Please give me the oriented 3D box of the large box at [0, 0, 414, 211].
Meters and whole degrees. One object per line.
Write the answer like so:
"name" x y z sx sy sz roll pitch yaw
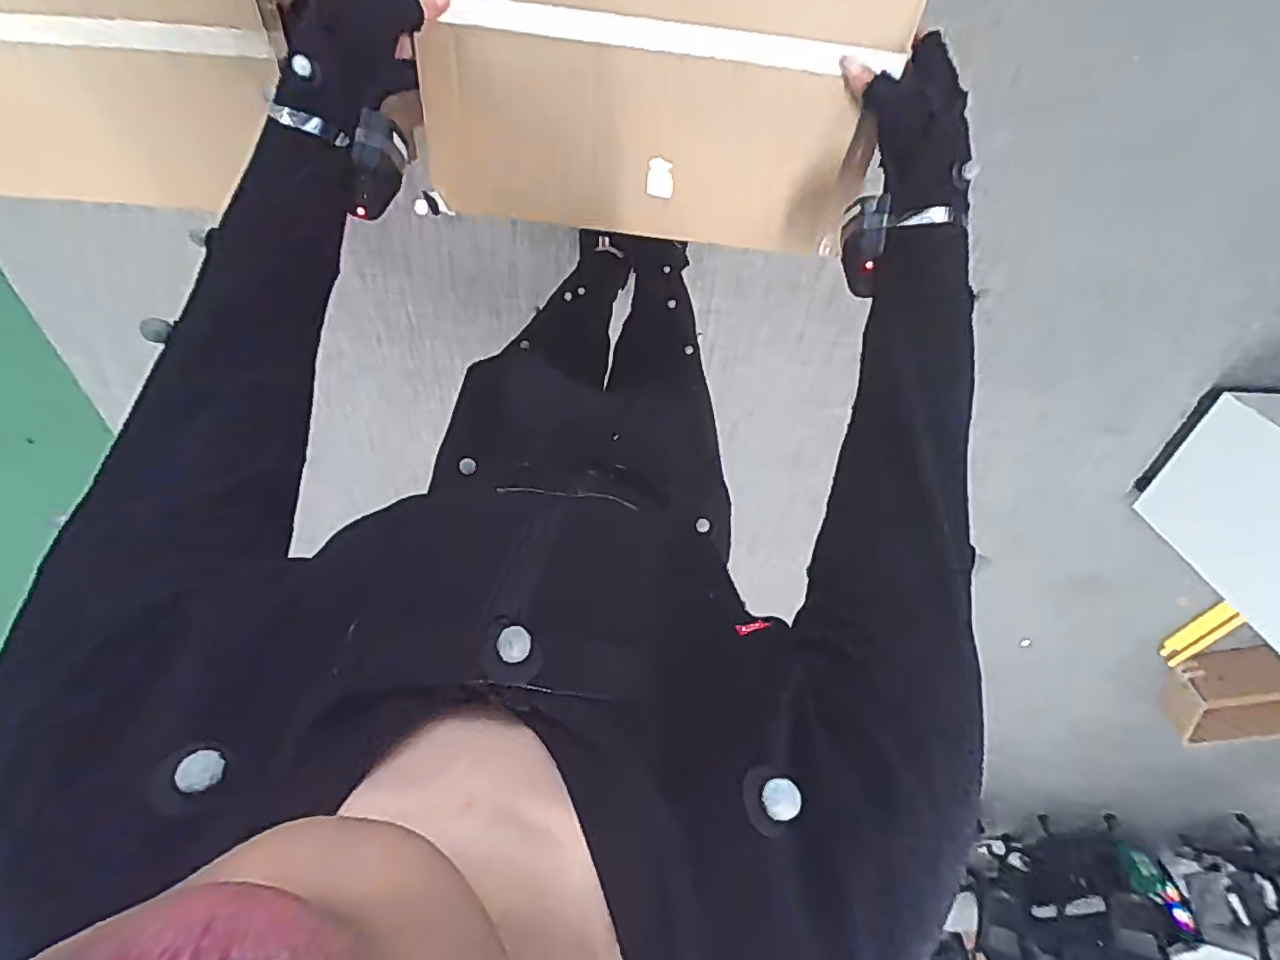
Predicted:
"large box" -0.543 -0.539 0.627 0.408 0.320 0.320 5 133 0
